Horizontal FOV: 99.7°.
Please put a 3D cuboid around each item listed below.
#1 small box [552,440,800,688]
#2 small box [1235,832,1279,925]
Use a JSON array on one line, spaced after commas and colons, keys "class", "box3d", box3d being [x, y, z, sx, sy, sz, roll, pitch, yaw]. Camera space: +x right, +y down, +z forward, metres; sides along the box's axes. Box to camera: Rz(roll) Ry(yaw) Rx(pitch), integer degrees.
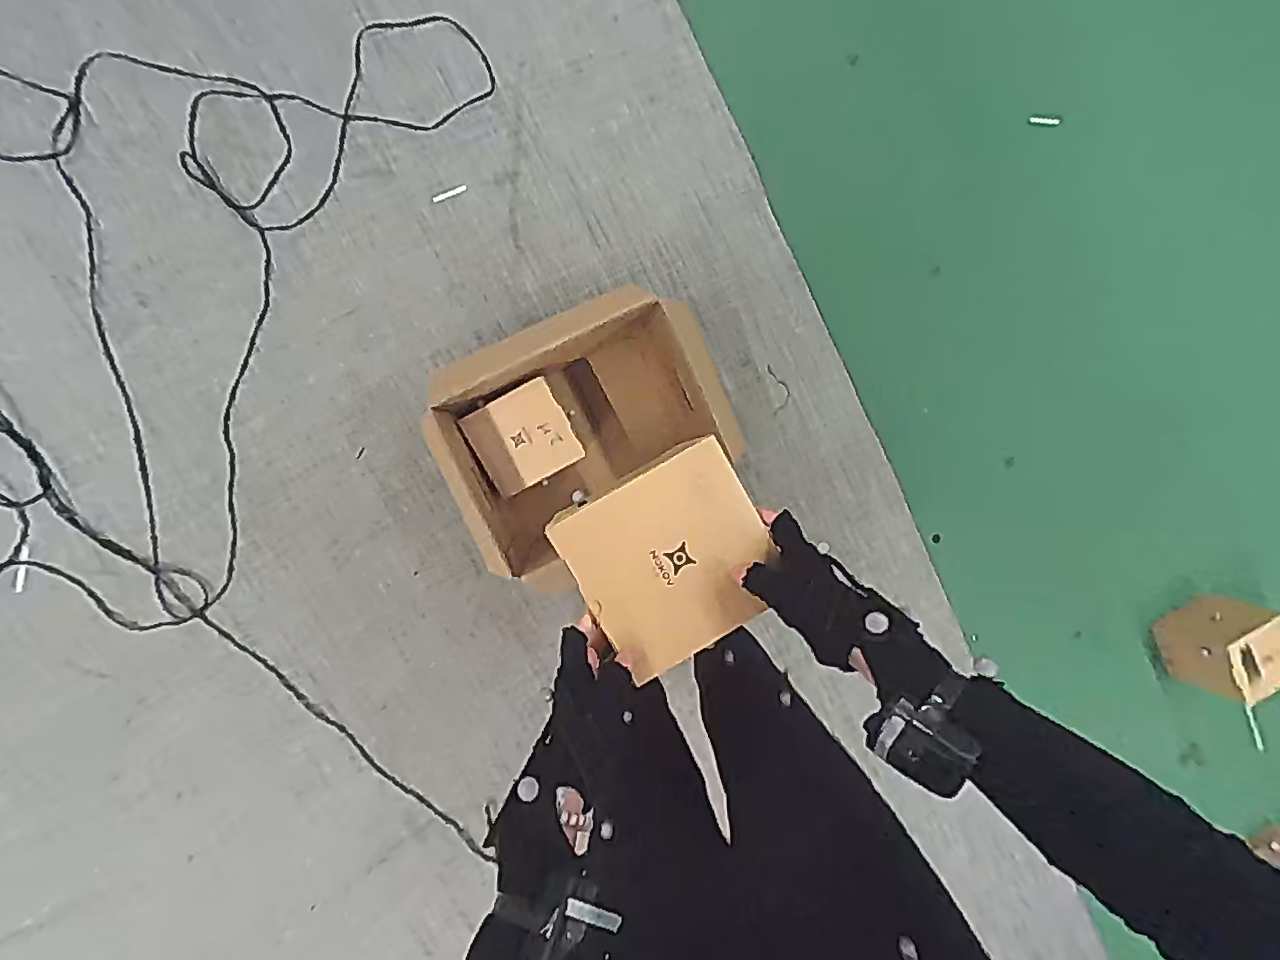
[{"class": "small box", "box3d": [0.027, 0.071, 0.558, 0.179, 0.176, 0.168, -30, 94, -3]}, {"class": "small box", "box3d": [1.745, 1.084, 1.420, 0.168, 0.176, 0.179, -26, 97, -6]}]
